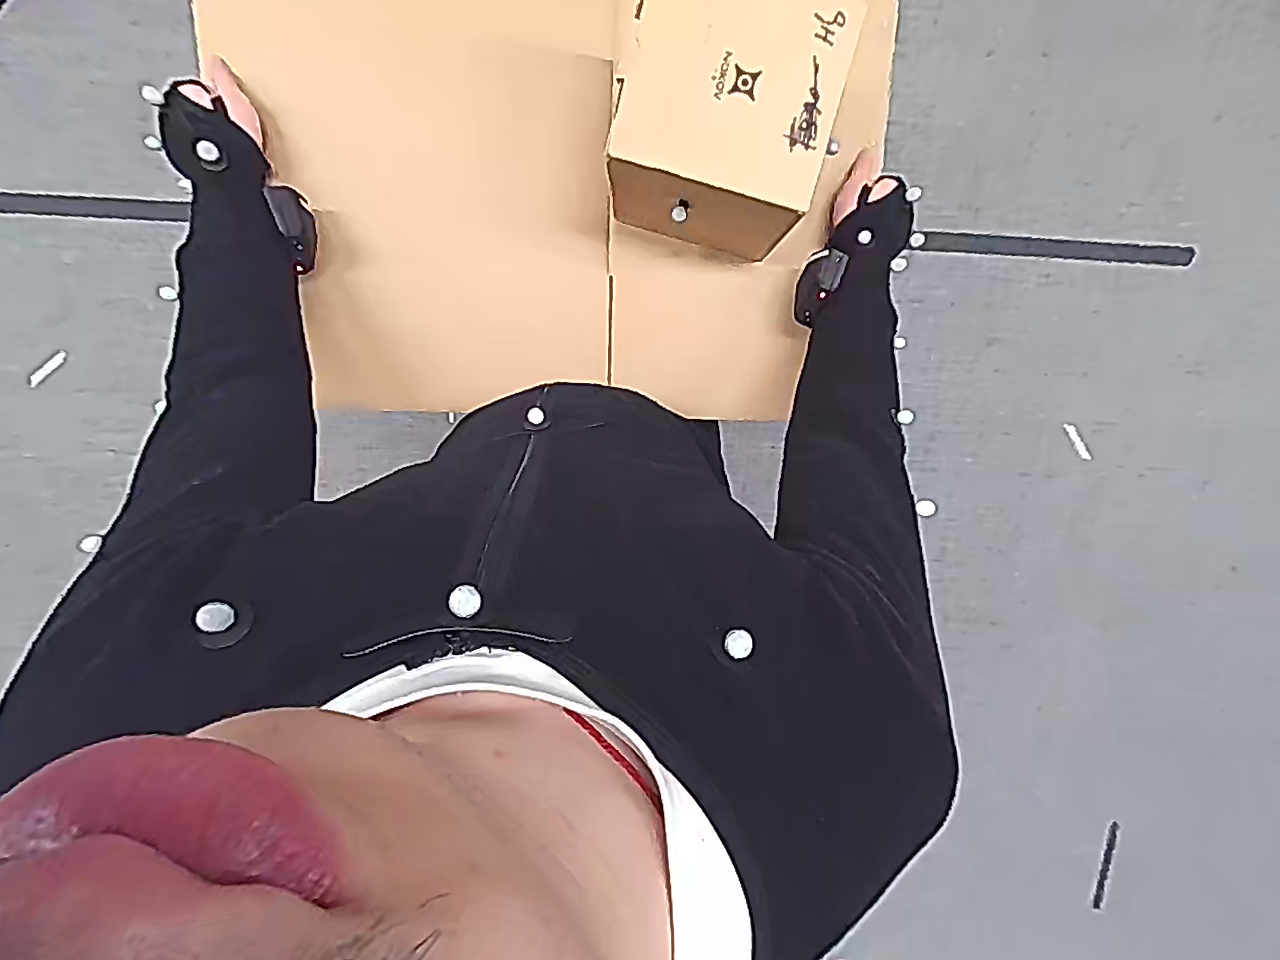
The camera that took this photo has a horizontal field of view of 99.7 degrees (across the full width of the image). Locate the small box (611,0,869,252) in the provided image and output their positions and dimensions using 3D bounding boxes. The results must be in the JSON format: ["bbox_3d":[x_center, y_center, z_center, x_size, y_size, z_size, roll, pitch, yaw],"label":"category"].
[{"bbox_3d":[0.080,-0.339,0.519,0.179,0.176,0.168,15,98,-2],"label":"small box"}]
